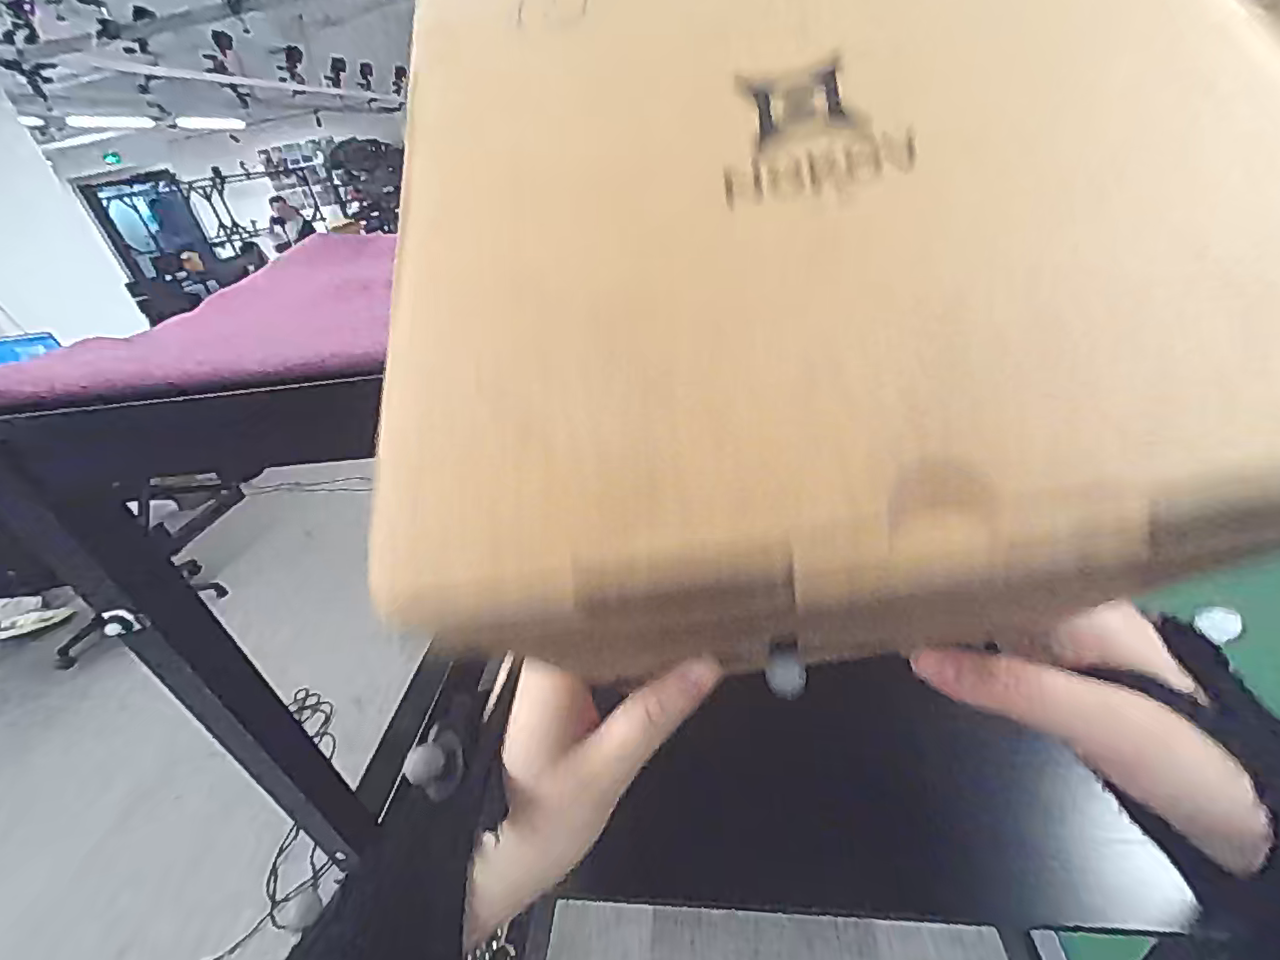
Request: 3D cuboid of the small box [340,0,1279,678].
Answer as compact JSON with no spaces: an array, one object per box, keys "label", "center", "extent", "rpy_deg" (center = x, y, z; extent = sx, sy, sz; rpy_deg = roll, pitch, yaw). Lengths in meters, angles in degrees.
[{"label":"small box","center":[0.038,-0.037,0.176],"extent":[0.168,0.176,0.179],"rpy_deg":[-10,69,6]}]
